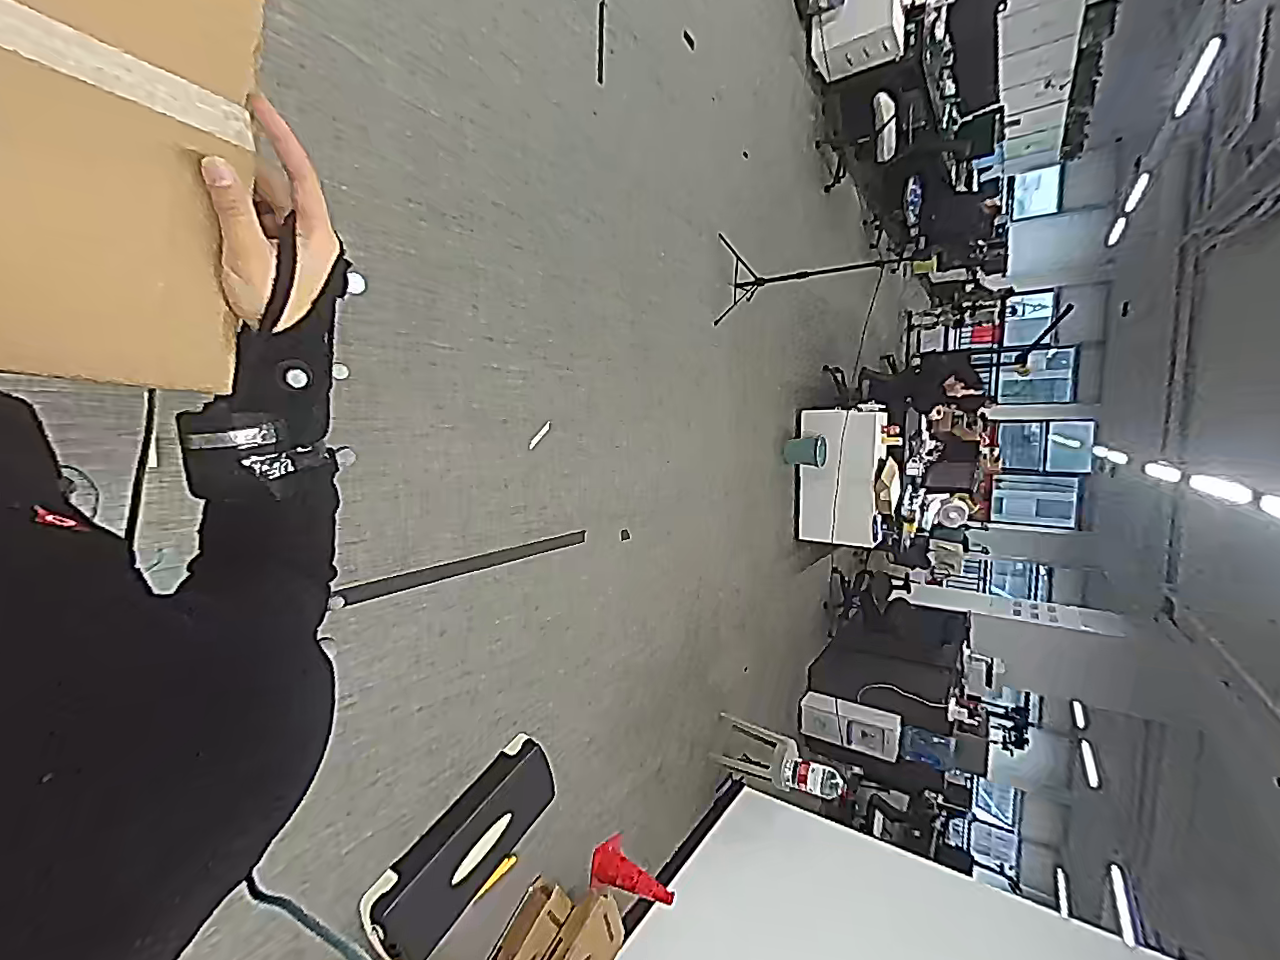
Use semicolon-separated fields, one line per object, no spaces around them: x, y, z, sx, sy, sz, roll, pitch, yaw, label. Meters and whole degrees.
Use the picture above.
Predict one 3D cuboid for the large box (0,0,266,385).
-0.472;-0.240;0.258;0.408;0.320;0.320;-1;106;-54;large box
